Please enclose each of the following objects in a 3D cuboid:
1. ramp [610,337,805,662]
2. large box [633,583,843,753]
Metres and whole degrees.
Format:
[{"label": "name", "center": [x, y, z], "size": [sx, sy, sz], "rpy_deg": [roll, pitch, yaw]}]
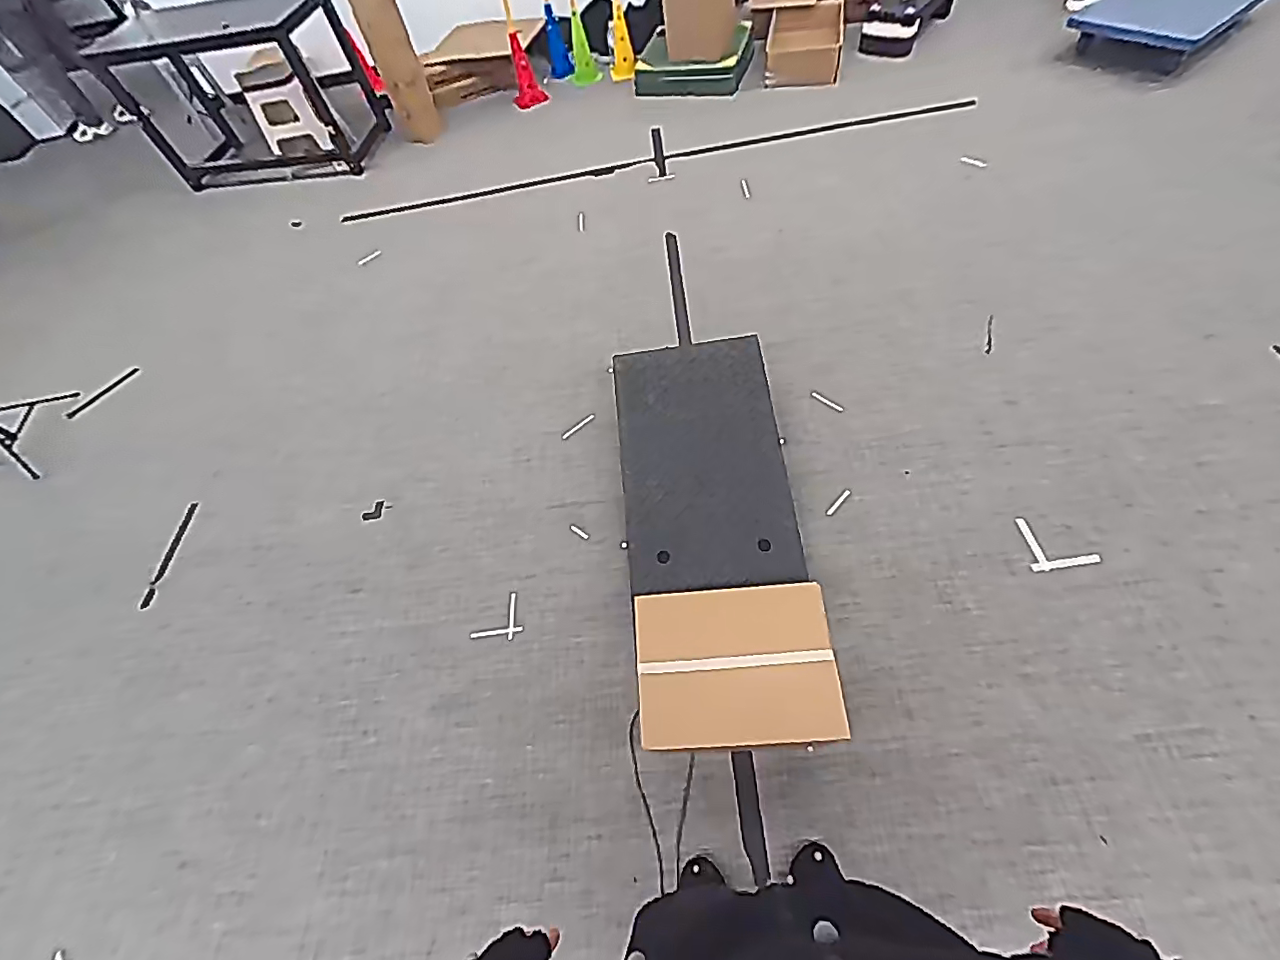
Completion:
[{"label": "ramp", "center": [0.184, 0.010, 1.624], "size": [0.509, 0.206, 0.991], "rpy_deg": [-8, 57, 2]}, {"label": "large box", "center": [0.208, 0.450, 1.255], "size": [0.408, 0.320, 0.320], "rpy_deg": [-6, 61, 5]}]
